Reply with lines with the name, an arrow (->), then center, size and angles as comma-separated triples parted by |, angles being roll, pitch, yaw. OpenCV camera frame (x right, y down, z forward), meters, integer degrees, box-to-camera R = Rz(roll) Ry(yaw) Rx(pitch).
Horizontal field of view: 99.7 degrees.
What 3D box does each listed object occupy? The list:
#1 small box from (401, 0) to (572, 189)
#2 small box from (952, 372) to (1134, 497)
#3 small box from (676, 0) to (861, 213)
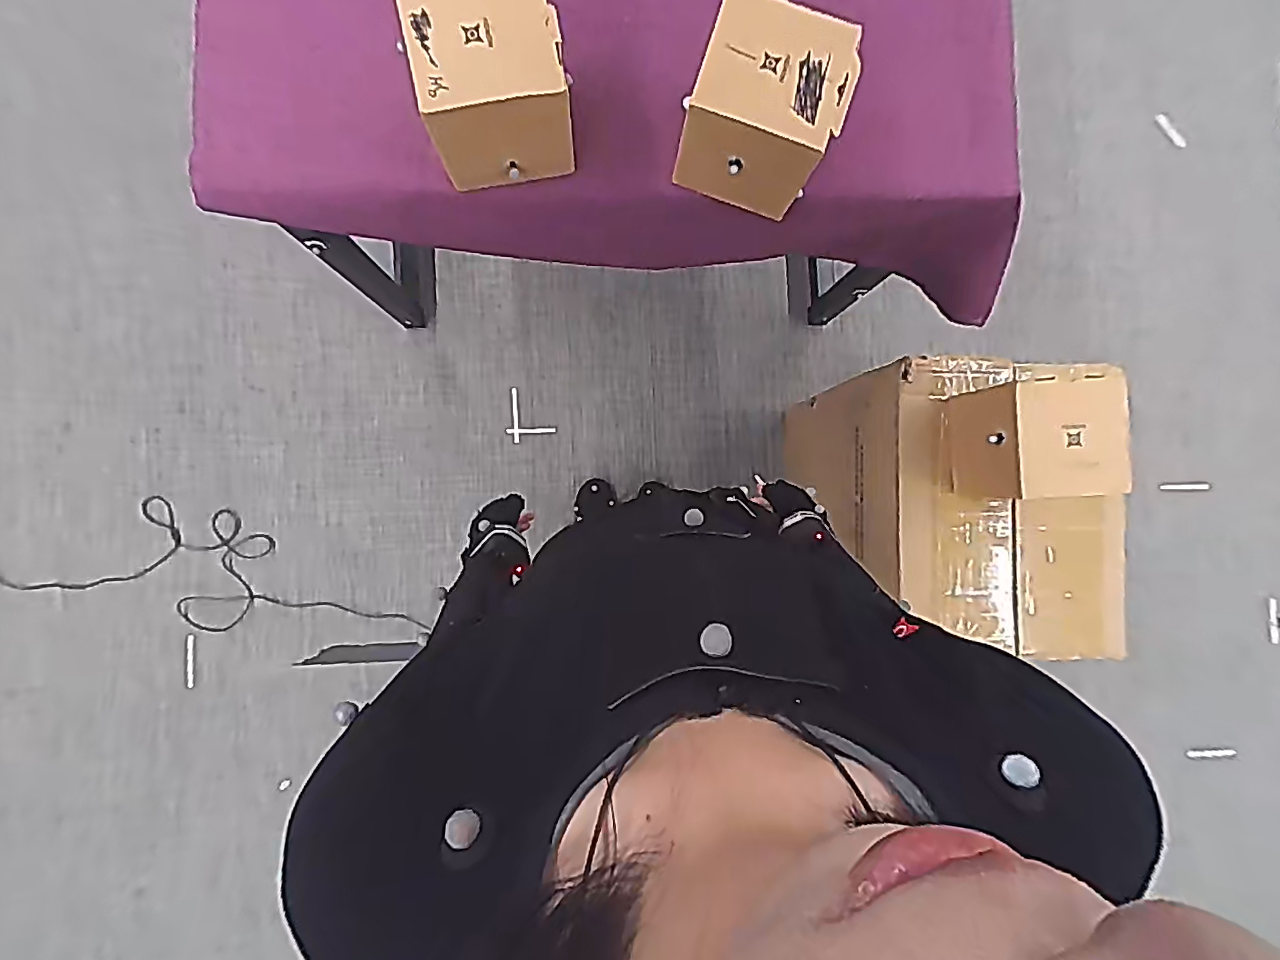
small box -> -0.189, -0.517, 0.712 | 0.179, 0.176, 0.168 | -12, 89, -5
small box -> 0.622, -0.065, 0.856 | 0.168, 0.176, 0.179 | -4, 90, -1
small box -> 0.161, -0.497, 0.734 | 0.179, 0.176, 0.168 | 18, 87, -2
